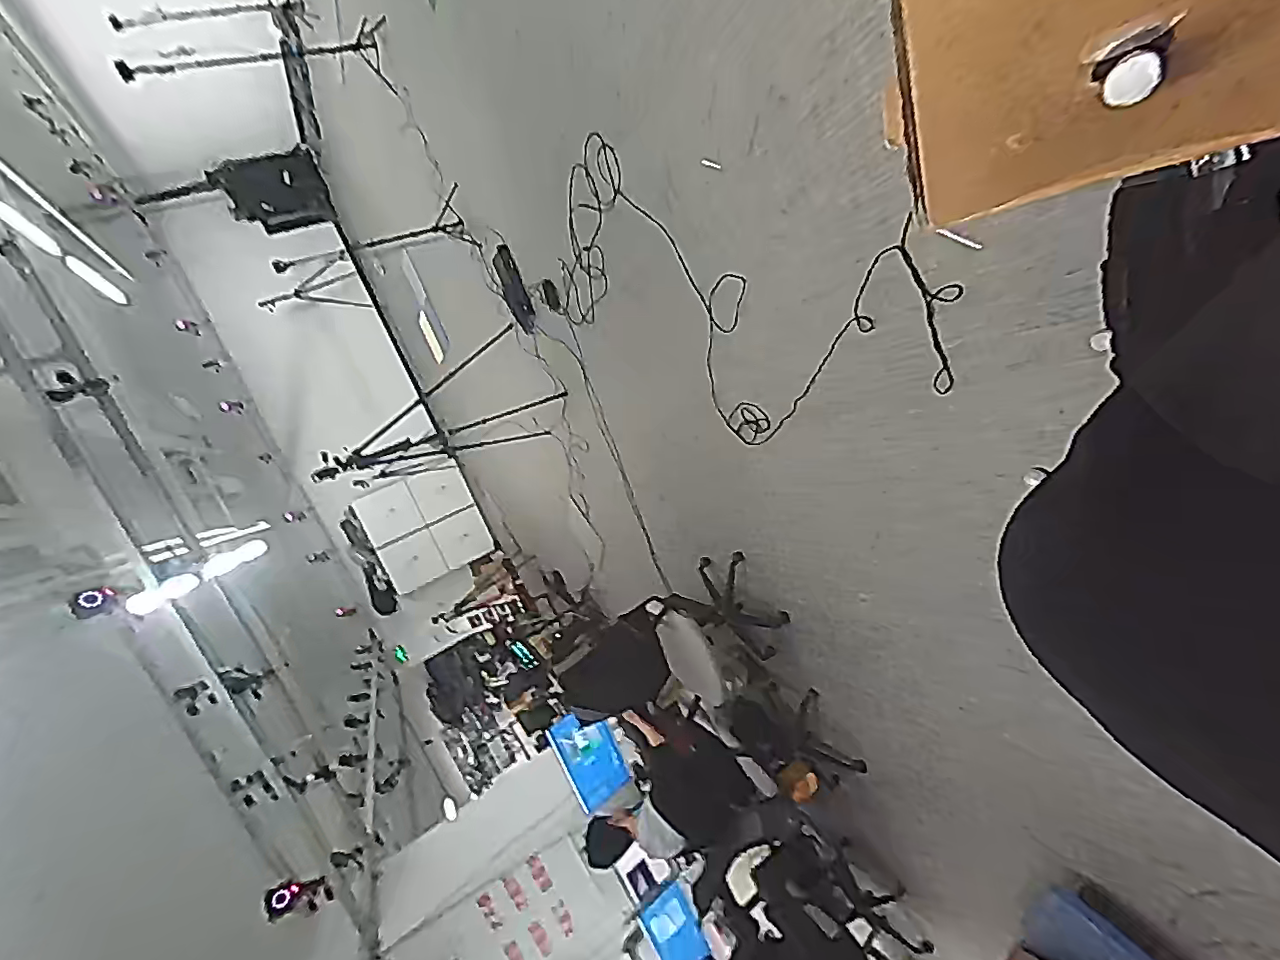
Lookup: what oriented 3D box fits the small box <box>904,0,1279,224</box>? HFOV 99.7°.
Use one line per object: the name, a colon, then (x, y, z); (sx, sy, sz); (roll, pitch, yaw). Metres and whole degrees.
small box: (0.186, -0.230, 0.186); (0.176, 0.179, 0.168); (-6, 79, 31)
